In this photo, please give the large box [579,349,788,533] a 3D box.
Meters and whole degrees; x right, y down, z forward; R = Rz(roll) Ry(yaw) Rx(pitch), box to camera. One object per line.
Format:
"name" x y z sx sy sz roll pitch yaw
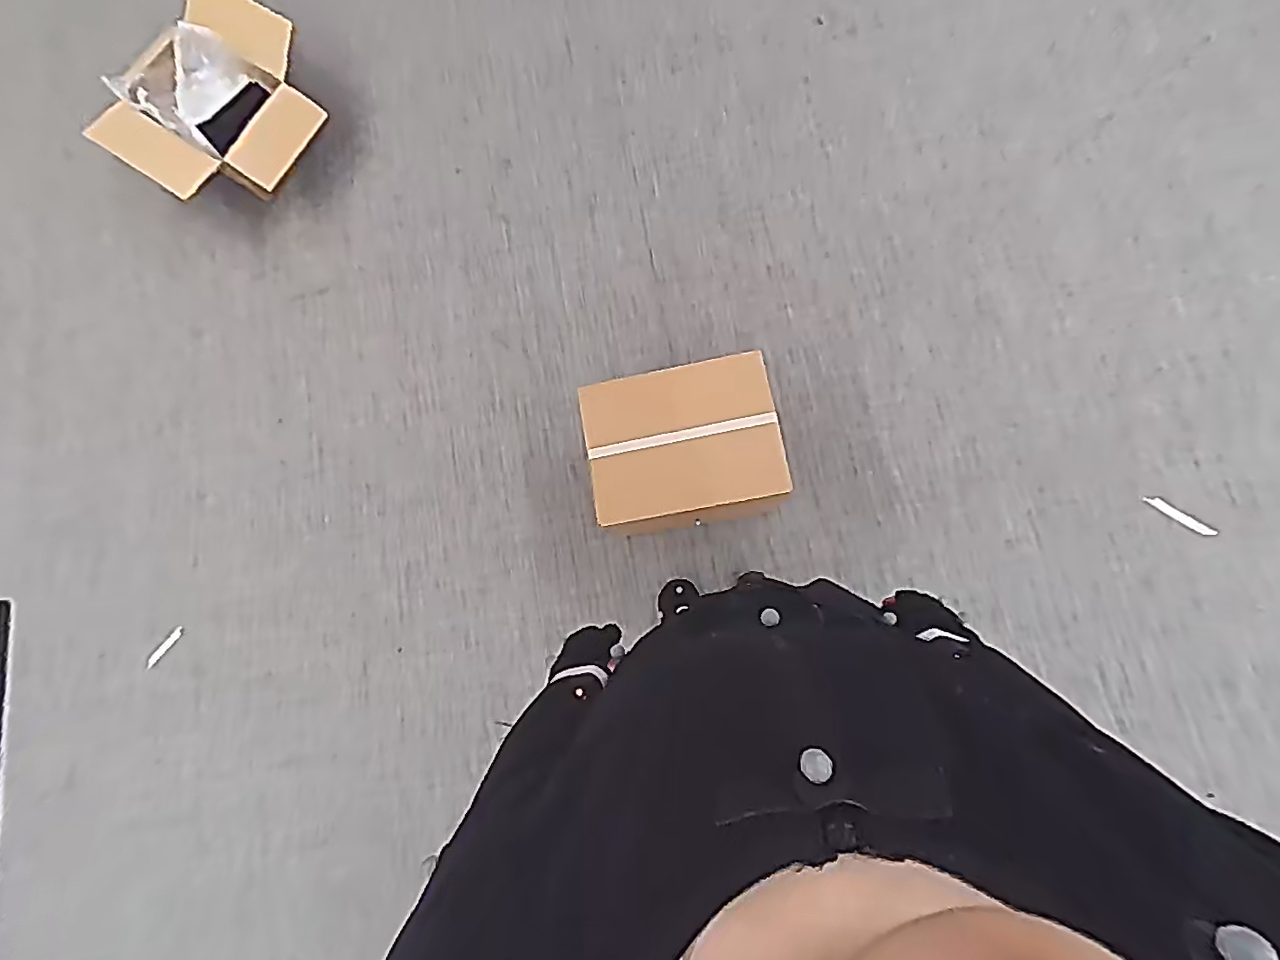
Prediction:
"large box" 0.100 -0.070 1.290 0.408 0.320 0.320 -11 80 5
